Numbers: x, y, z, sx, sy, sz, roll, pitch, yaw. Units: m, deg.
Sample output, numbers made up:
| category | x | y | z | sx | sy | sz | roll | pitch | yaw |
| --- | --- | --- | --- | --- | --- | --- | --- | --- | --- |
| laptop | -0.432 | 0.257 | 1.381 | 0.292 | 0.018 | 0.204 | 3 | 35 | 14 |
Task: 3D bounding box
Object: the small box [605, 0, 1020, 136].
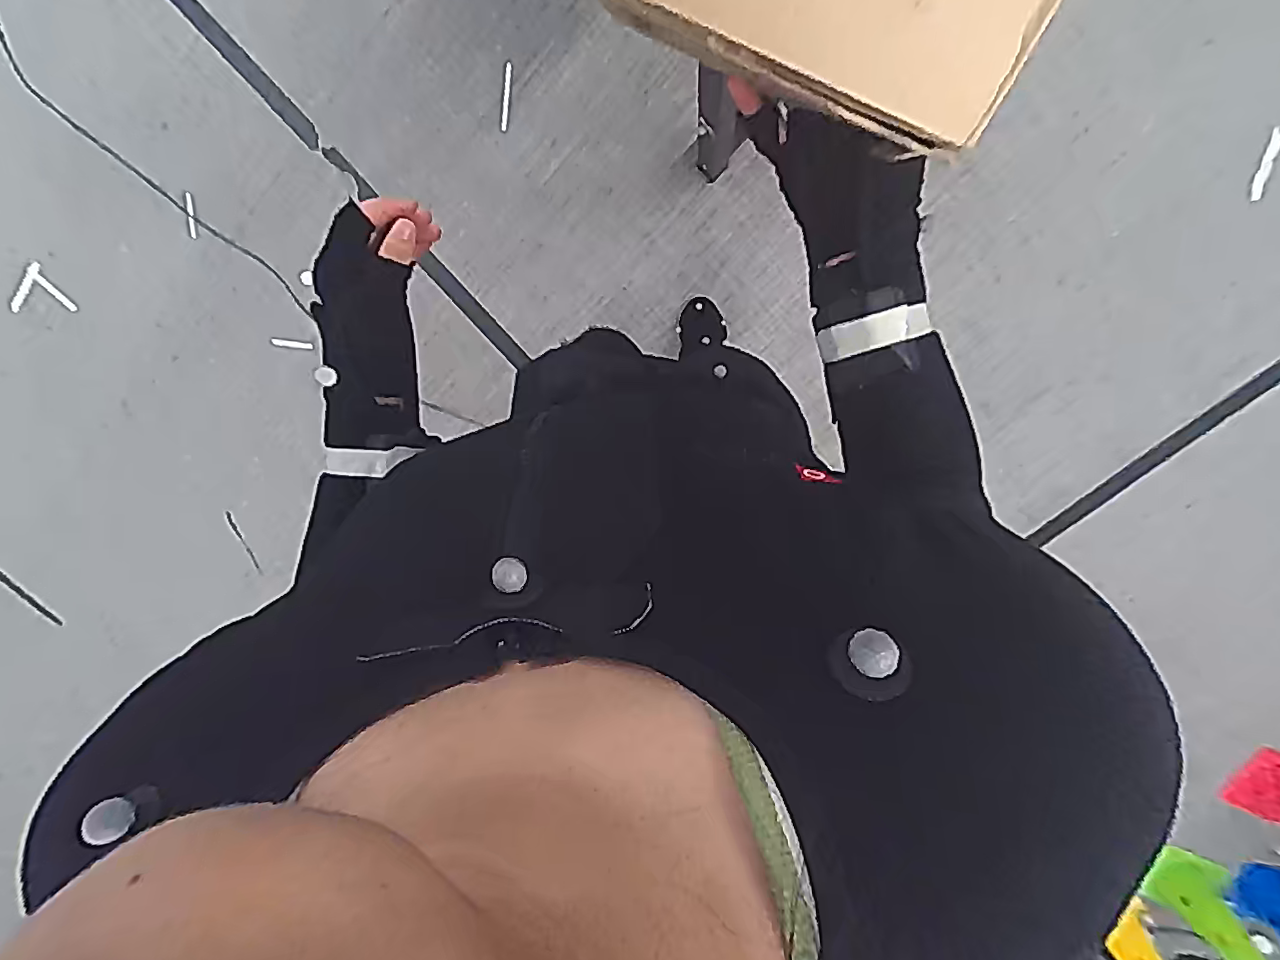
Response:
| category | x | y | z | sx | sy | sz | roll | pitch | yaw |
| --- | --- | --- | --- | --- | --- | --- | --- | --- | --- |
| small box | 0.087 | -0.282 | 0.238 | 0.179 | 0.168 | 0.176 | 16 | 124 | -10 |
